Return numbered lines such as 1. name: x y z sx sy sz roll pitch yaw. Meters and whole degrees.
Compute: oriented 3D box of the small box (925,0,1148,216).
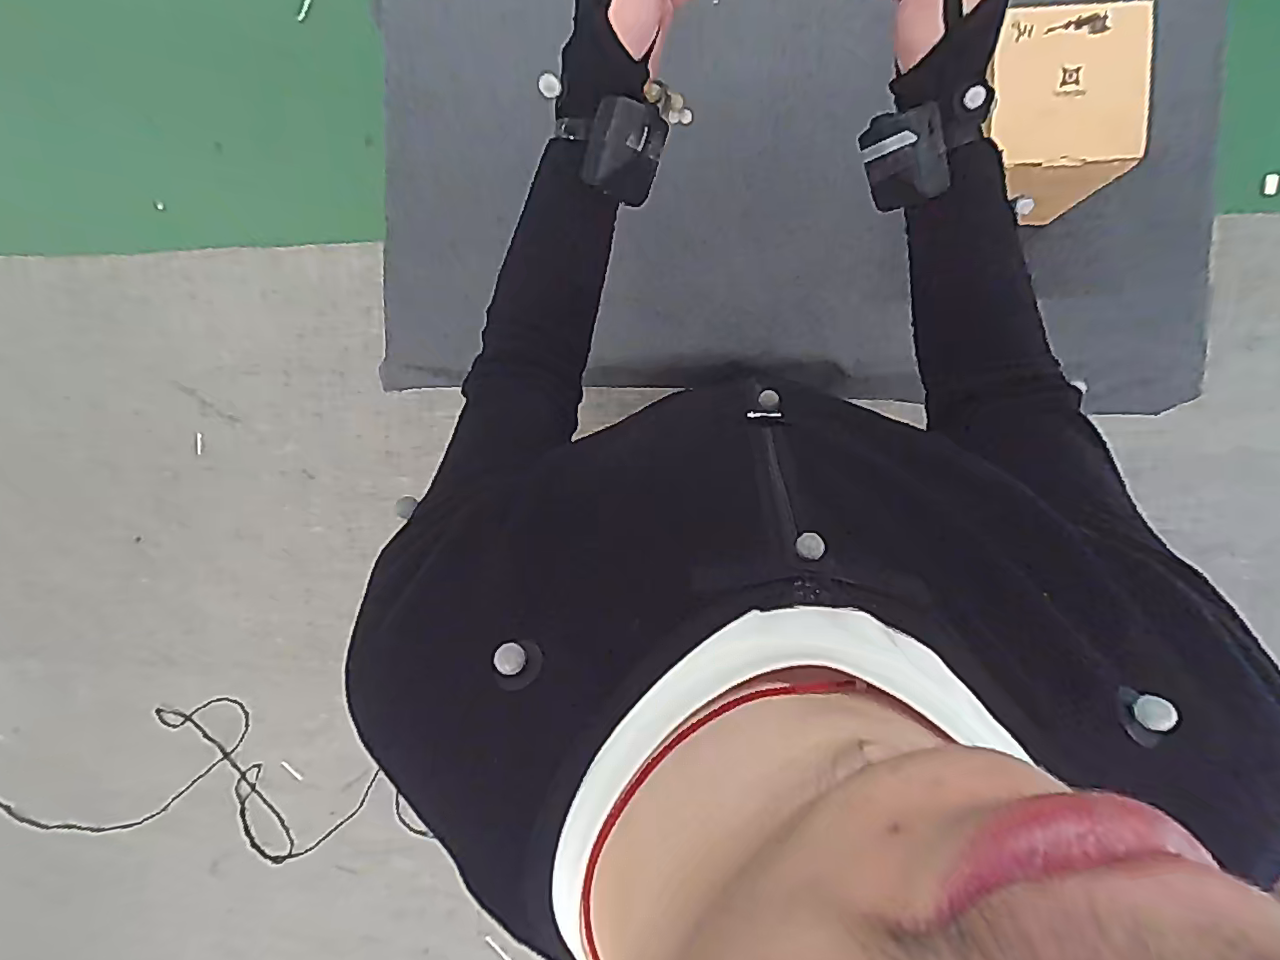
1. small box: 0.487 -0.455 0.693 0.168 0.176 0.179 2 95 5
